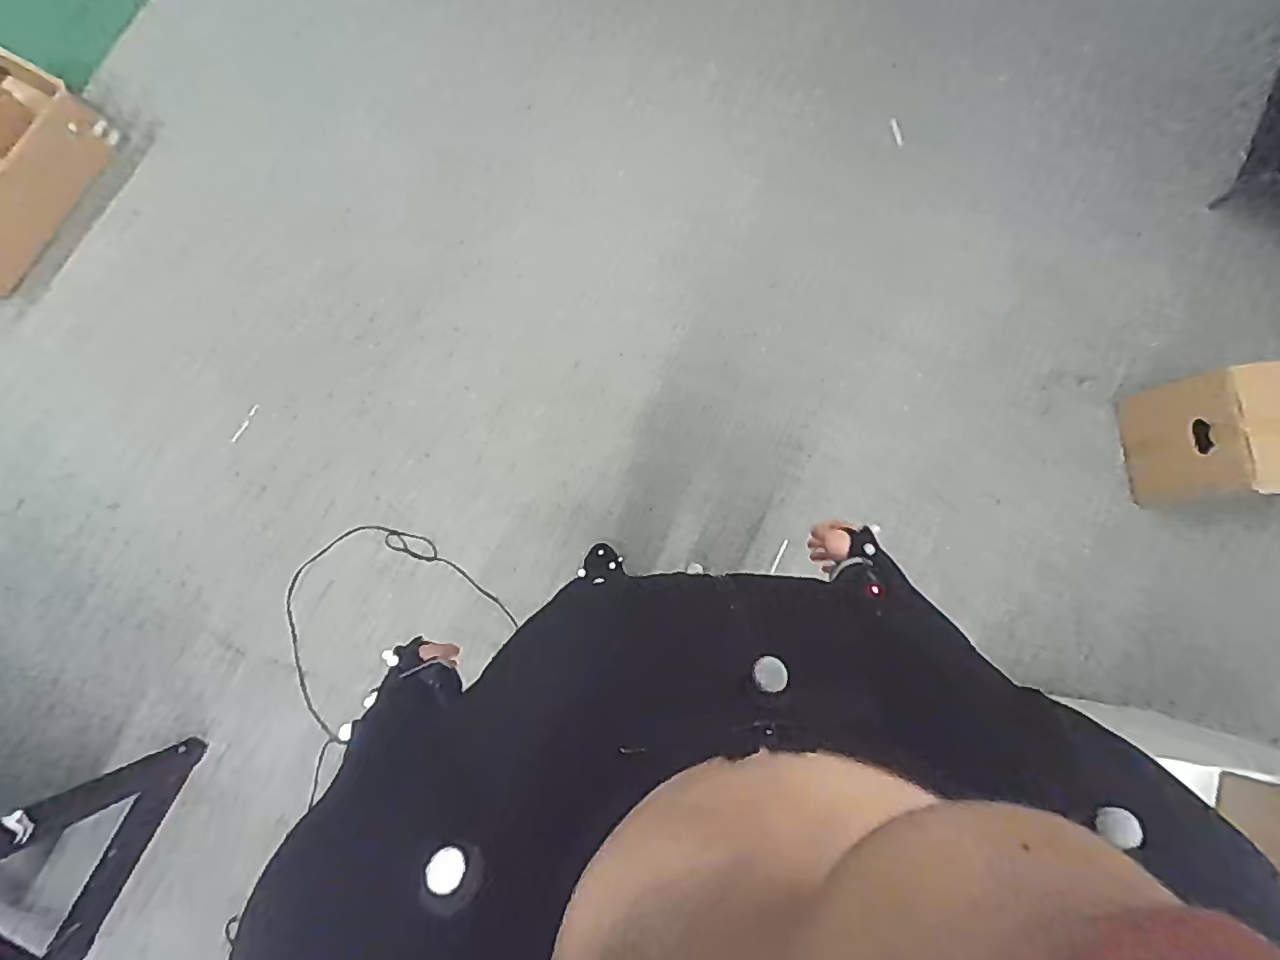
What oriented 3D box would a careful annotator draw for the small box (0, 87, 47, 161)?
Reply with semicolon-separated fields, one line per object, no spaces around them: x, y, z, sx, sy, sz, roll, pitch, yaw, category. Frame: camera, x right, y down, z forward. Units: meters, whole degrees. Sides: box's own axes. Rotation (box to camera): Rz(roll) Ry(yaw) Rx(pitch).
-1.810;-1.018;1.466;0.179;0.176;0.168;35;84;1;small box
